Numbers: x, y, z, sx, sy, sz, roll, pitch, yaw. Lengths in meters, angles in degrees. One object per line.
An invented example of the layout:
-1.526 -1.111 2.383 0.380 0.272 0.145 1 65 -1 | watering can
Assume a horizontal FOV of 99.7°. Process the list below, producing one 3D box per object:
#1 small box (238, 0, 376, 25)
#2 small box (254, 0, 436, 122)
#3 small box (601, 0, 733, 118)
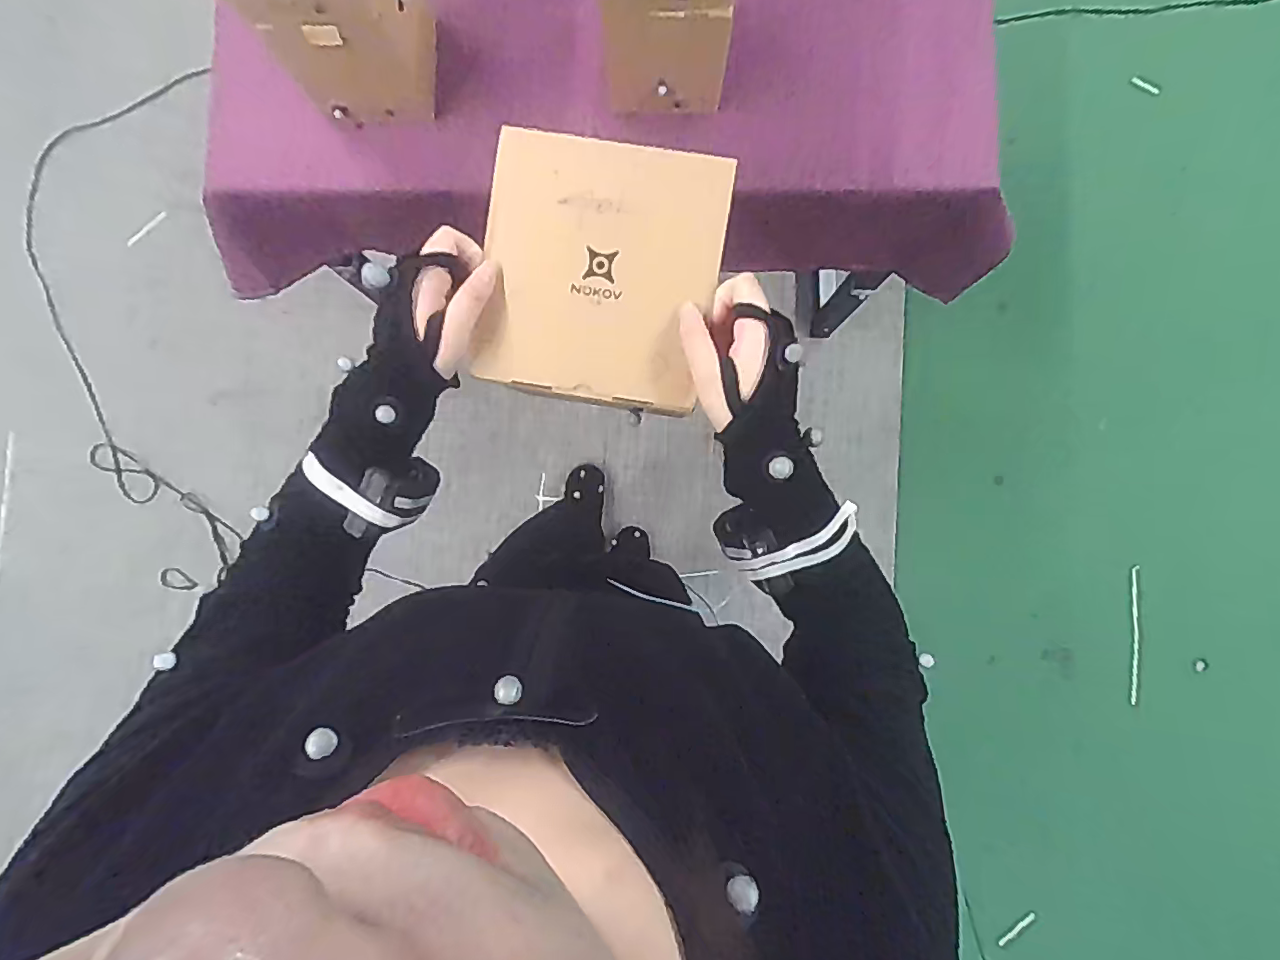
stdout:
-0.402 -0.647 0.590 0.168 0.176 0.179 1 87 0 | small box
-0.396 -0.635 0.754 0.168 0.176 0.179 -1 85 0 | small box
0.038 -0.647 0.749 0.168 0.176 0.179 2 86 1 | small box
